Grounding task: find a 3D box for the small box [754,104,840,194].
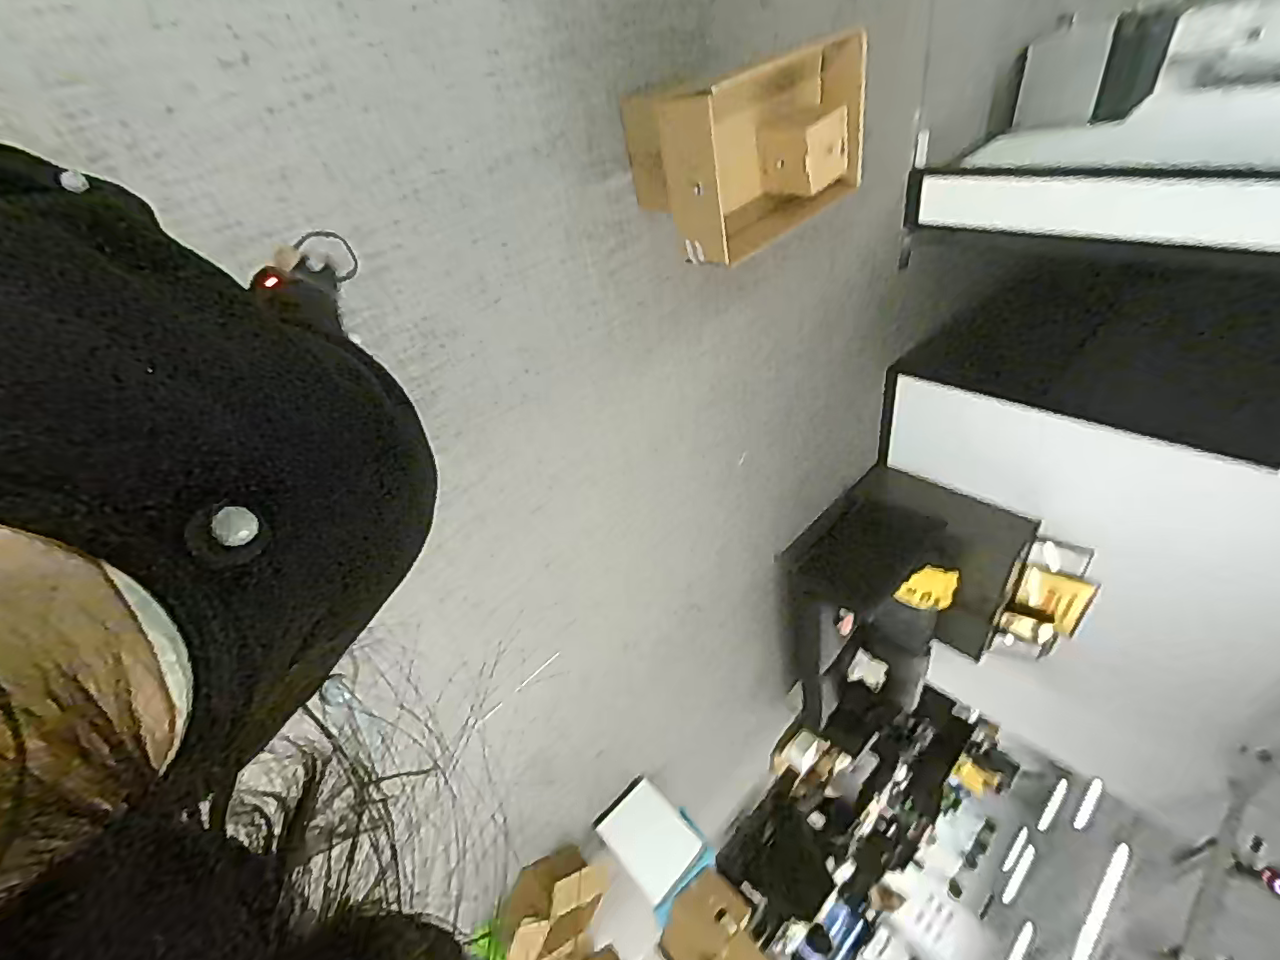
[{"bbox_3d":[0.431,-0.916,1.501,0.179,0.176,0.168,-40,137,-20],"label":"small box"}]
